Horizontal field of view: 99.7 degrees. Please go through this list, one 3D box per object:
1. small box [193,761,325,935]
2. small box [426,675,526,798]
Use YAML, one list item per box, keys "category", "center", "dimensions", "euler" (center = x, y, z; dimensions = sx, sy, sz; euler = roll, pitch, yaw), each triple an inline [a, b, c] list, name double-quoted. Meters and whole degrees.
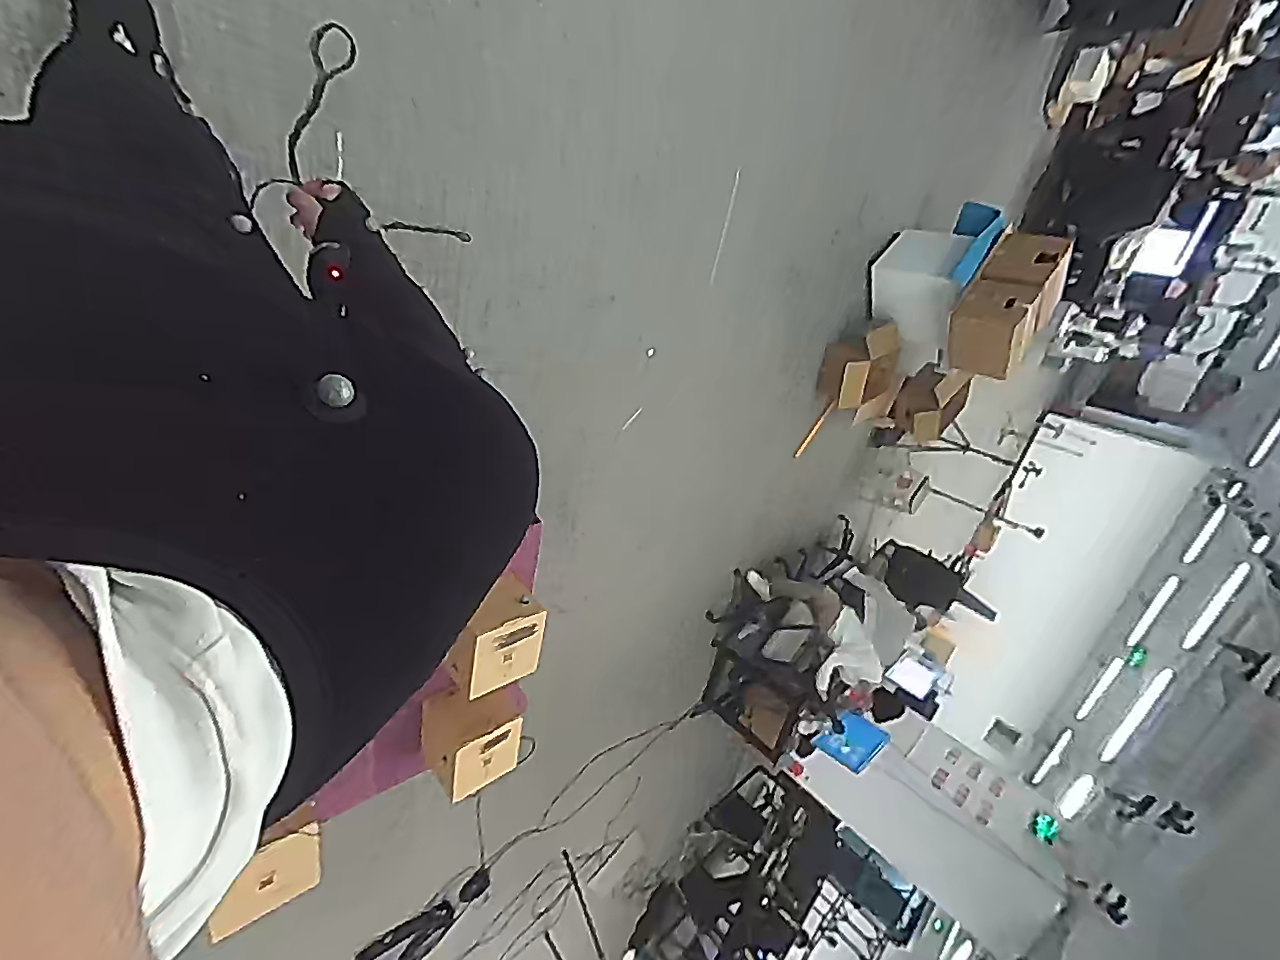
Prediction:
- category: "small box"
  center: [-0.695, 0.653, 0.989]
  dimensions: [0.168, 0.176, 0.179]
  euler: [-11, 122, -43]
- category: "small box"
  center: [-0.391, 0.590, 1.277]
  dimensions: [0.168, 0.176, 0.179]
  euler: [-12, 123, -42]
